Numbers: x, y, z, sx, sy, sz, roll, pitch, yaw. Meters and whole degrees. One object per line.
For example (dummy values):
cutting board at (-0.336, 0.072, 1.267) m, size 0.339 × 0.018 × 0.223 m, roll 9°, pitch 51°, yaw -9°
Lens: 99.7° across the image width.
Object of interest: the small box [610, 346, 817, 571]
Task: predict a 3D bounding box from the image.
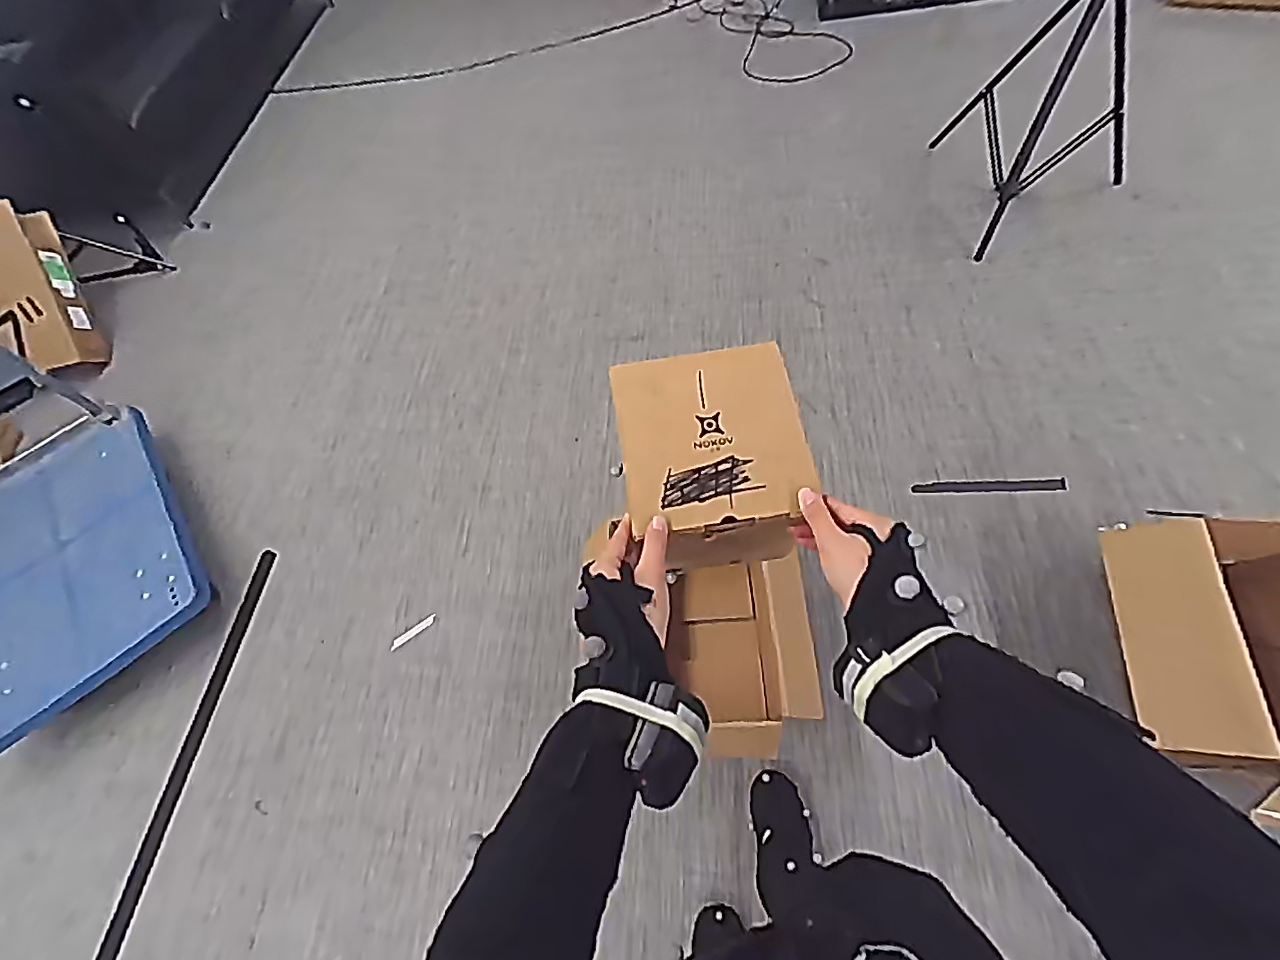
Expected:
small box at (0.066, -0.010, 0.567) m, size 0.168 × 0.176 × 0.179 m, roll -9°, pitch 66°, yaw -1°
